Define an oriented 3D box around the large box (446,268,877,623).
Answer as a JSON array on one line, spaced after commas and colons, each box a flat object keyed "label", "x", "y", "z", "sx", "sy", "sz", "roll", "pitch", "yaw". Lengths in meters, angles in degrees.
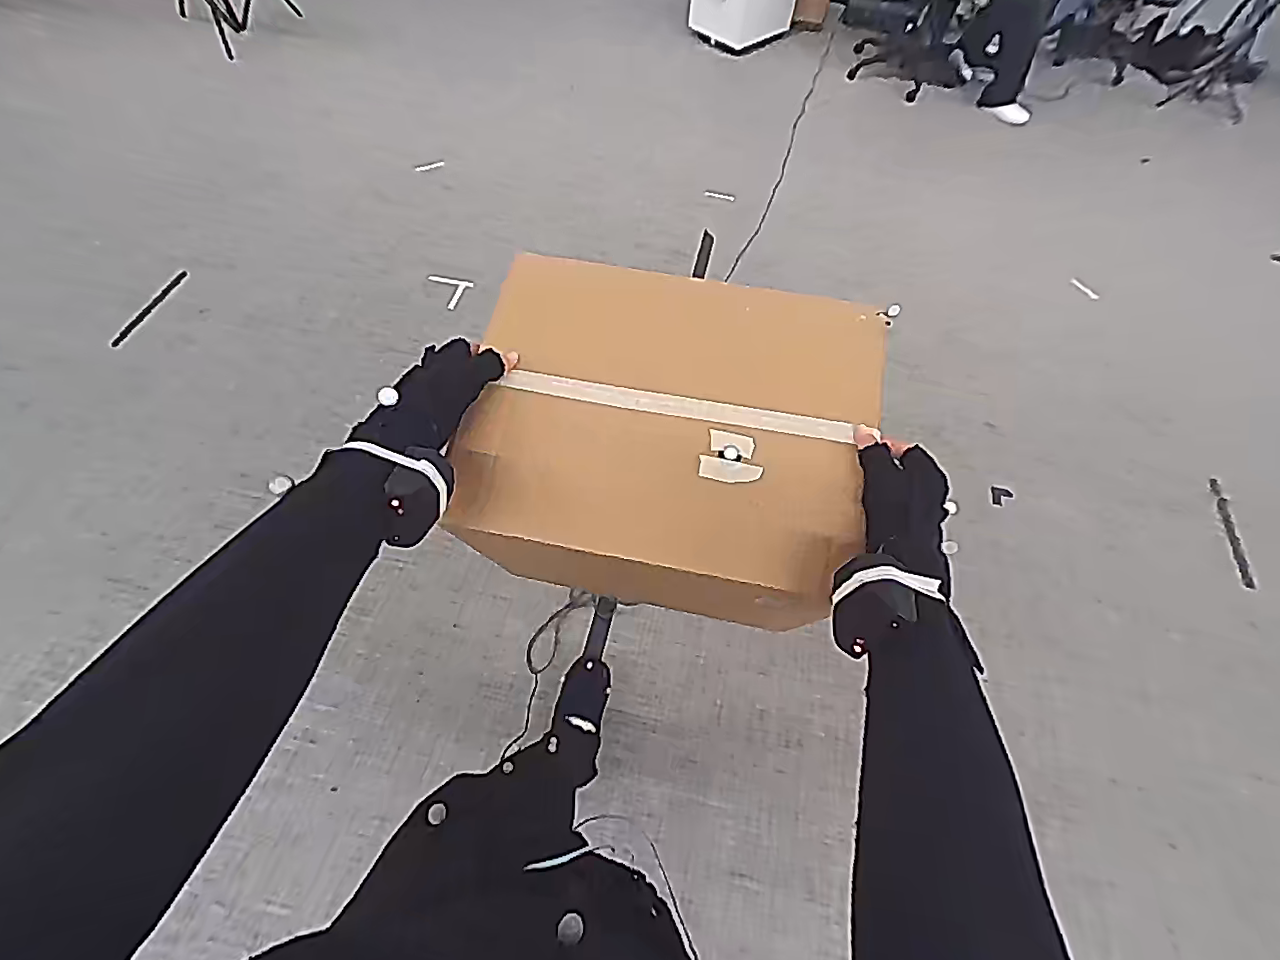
[{"label": "large box", "x": 0.035, "y": -0.020, "z": 0.691, "sx": 0.408, "sy": 0.320, "sz": 0.320, "roll": 11, "pitch": 72, "yaw": 5}]
